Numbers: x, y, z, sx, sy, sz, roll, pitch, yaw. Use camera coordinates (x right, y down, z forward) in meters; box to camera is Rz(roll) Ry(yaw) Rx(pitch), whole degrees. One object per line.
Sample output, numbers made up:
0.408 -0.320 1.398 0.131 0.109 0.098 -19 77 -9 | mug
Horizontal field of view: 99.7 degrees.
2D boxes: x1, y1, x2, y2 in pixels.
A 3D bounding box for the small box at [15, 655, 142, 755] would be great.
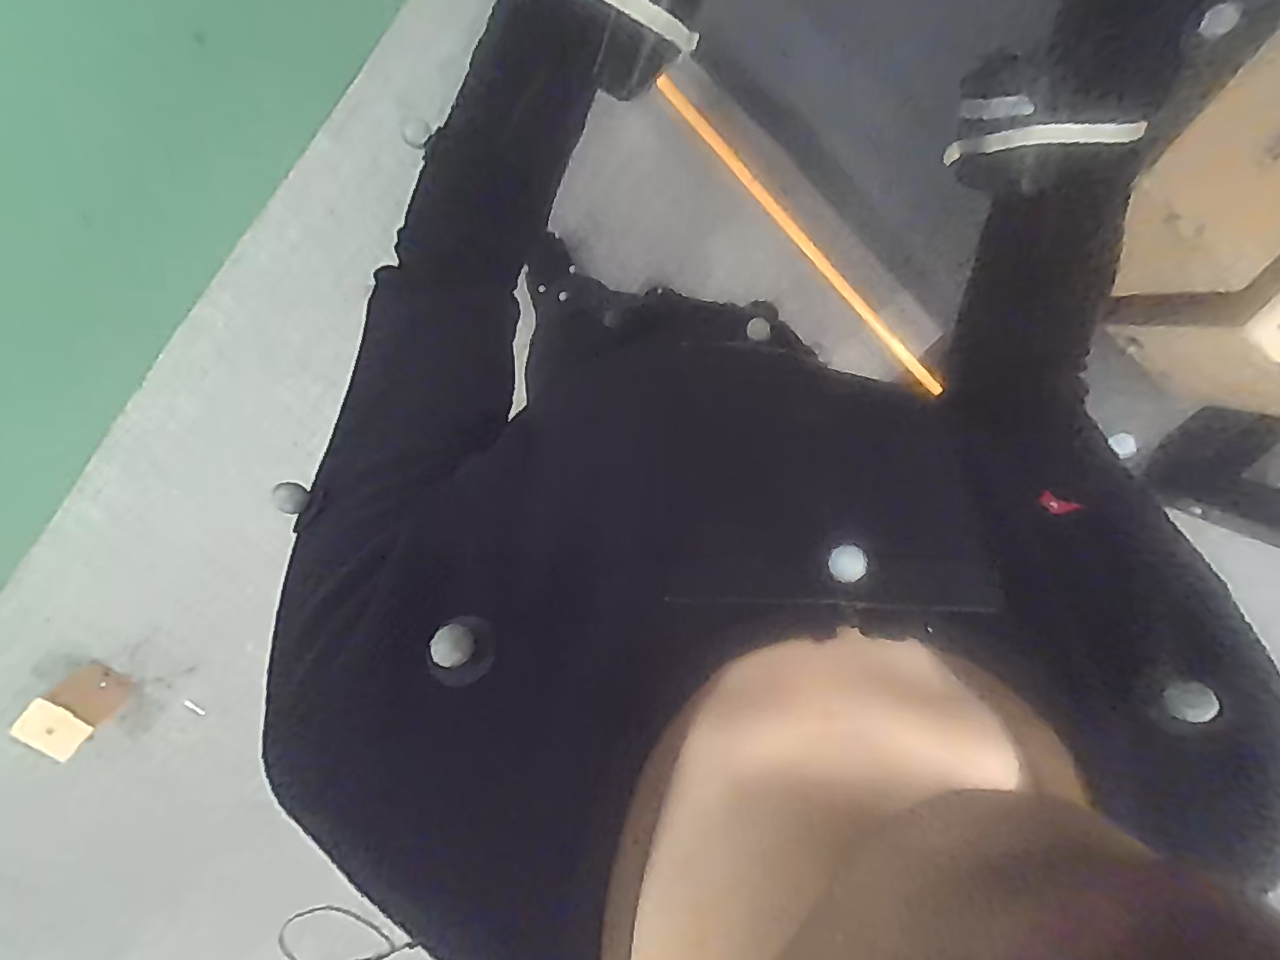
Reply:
-1.650 0.661 1.601 0.179 0.176 0.168 -44 103 11 | small box
